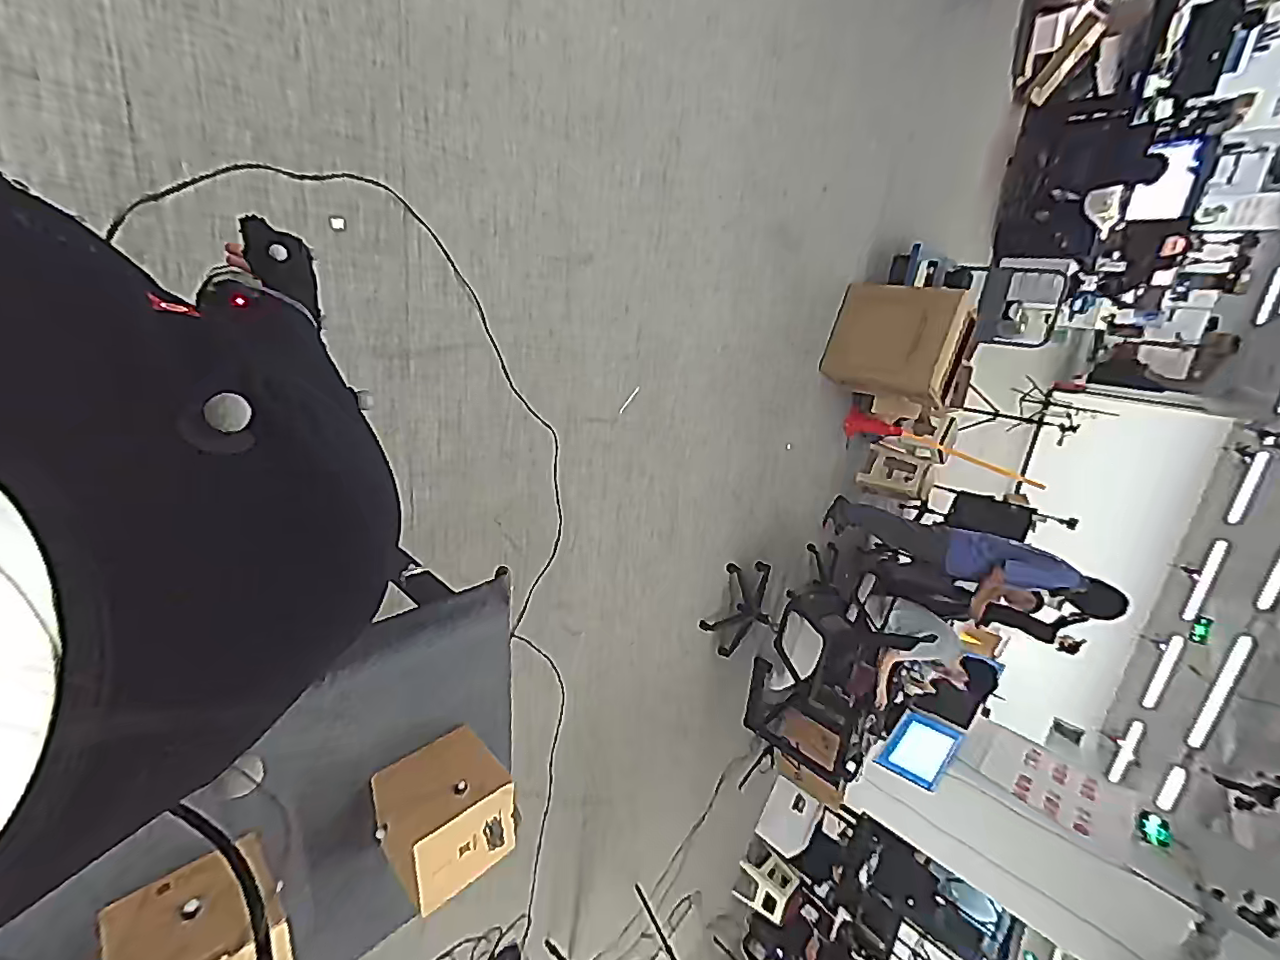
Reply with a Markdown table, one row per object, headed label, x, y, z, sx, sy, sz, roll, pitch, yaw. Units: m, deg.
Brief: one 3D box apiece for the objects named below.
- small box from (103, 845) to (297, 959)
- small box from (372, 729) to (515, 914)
| label | x | y | z | sx | sy | sz | roll | pitch | yaw |
| --- | --- | --- | --- | --- | --- | --- | --- | --- | --- |
| small box | -0.568 | 0.626 | 0.707 | 0.168 | 0.176 | 0.179 | -14 | 116 | -45 |
| small box | -0.339 | 0.576 | 0.941 | 0.179 | 0.176 | 0.168 | -16 | 118 | -43 |
